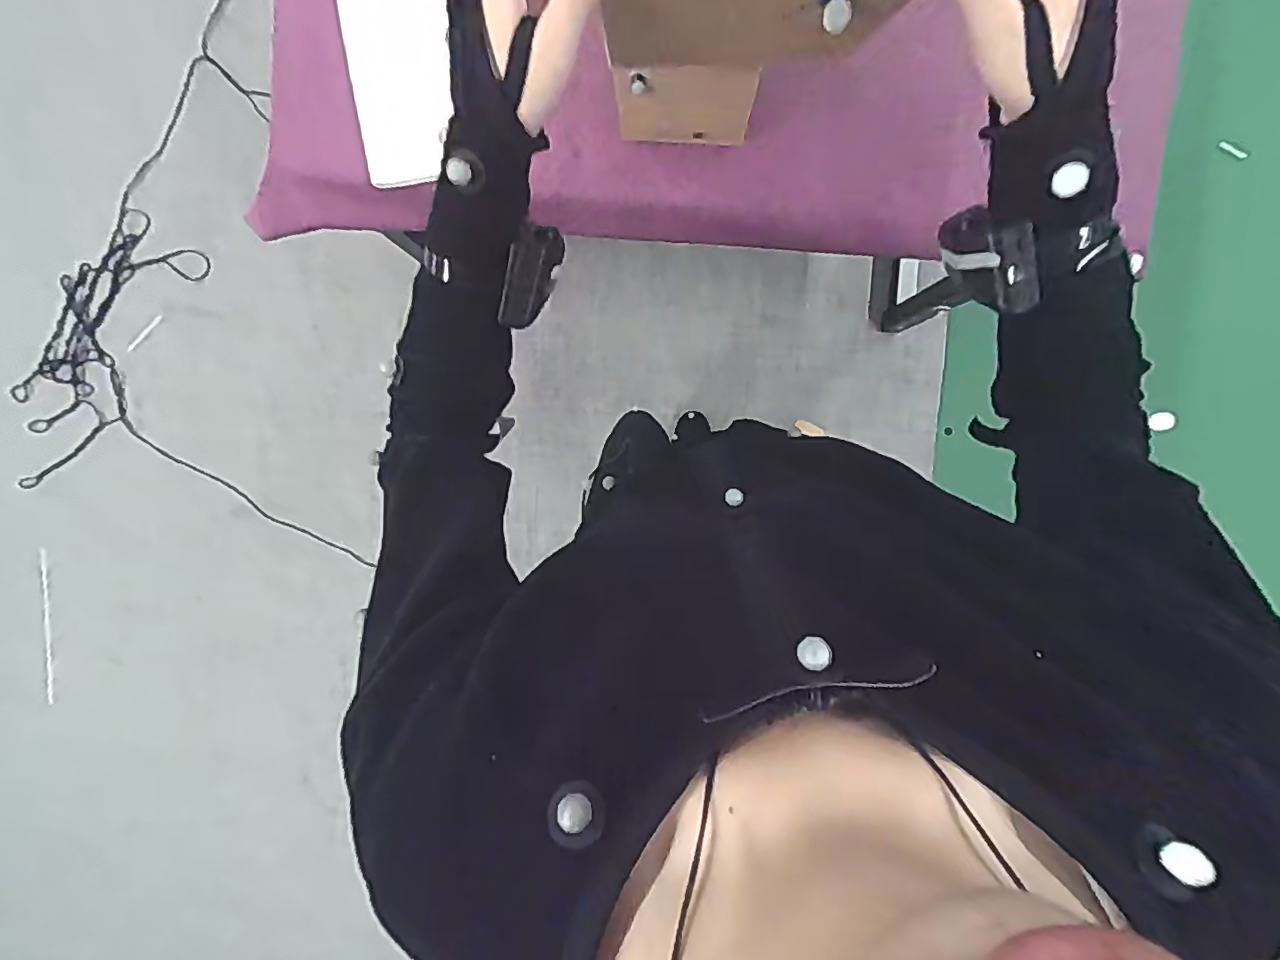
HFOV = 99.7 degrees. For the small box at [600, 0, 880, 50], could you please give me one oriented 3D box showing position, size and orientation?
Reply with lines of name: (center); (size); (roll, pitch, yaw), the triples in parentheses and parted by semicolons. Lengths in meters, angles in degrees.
small box: (0.062, -0.356, 0.286); (0.179, 0.176, 0.168); (0, 113, 1)
